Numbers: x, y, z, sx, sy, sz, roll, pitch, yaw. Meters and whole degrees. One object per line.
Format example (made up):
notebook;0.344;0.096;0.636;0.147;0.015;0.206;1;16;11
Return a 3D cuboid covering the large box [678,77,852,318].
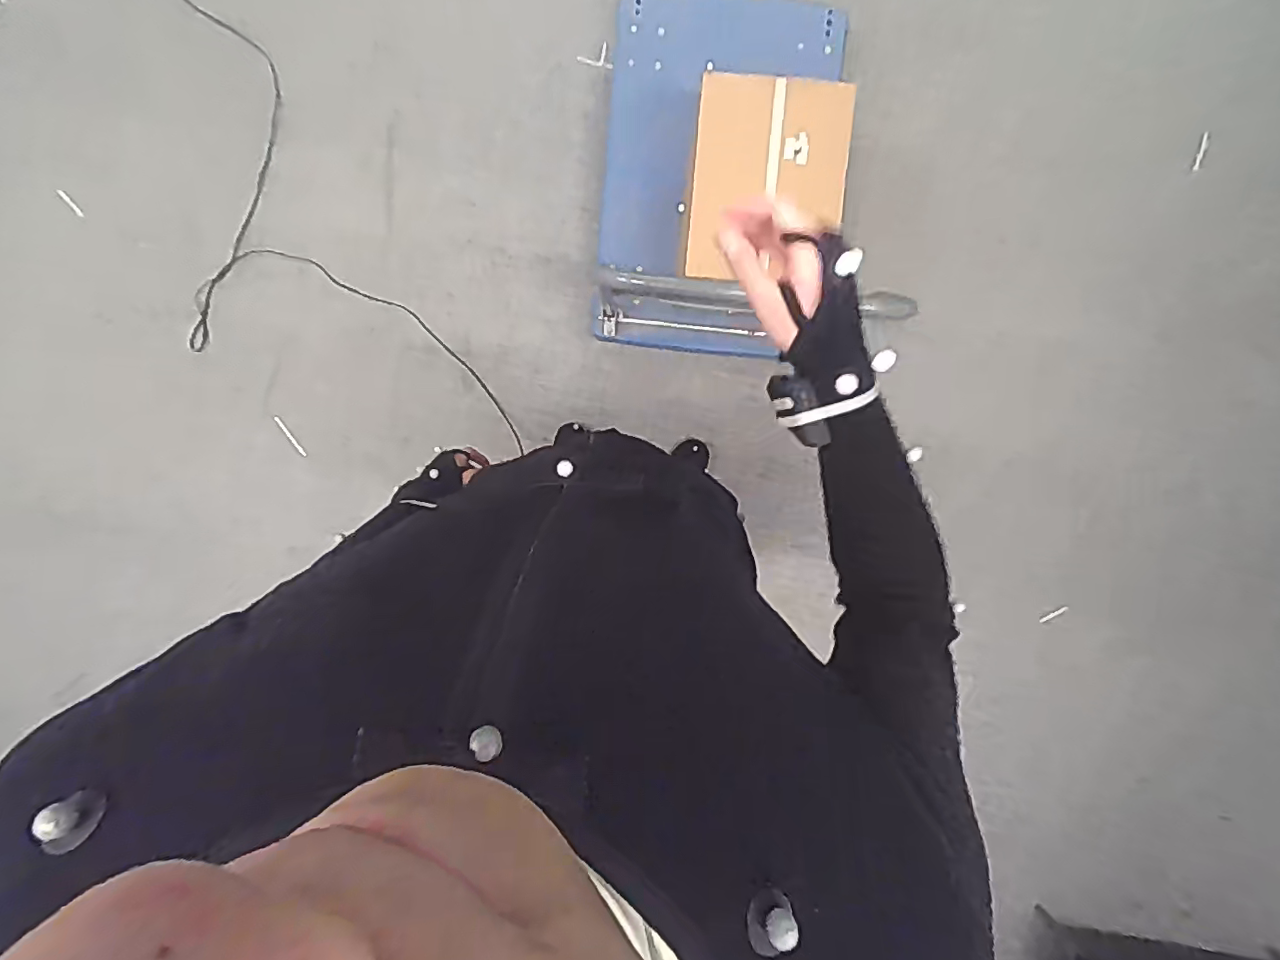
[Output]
large box;0.262;-0.615;1.253;0.320;0.320;0.408;5;95;-2
